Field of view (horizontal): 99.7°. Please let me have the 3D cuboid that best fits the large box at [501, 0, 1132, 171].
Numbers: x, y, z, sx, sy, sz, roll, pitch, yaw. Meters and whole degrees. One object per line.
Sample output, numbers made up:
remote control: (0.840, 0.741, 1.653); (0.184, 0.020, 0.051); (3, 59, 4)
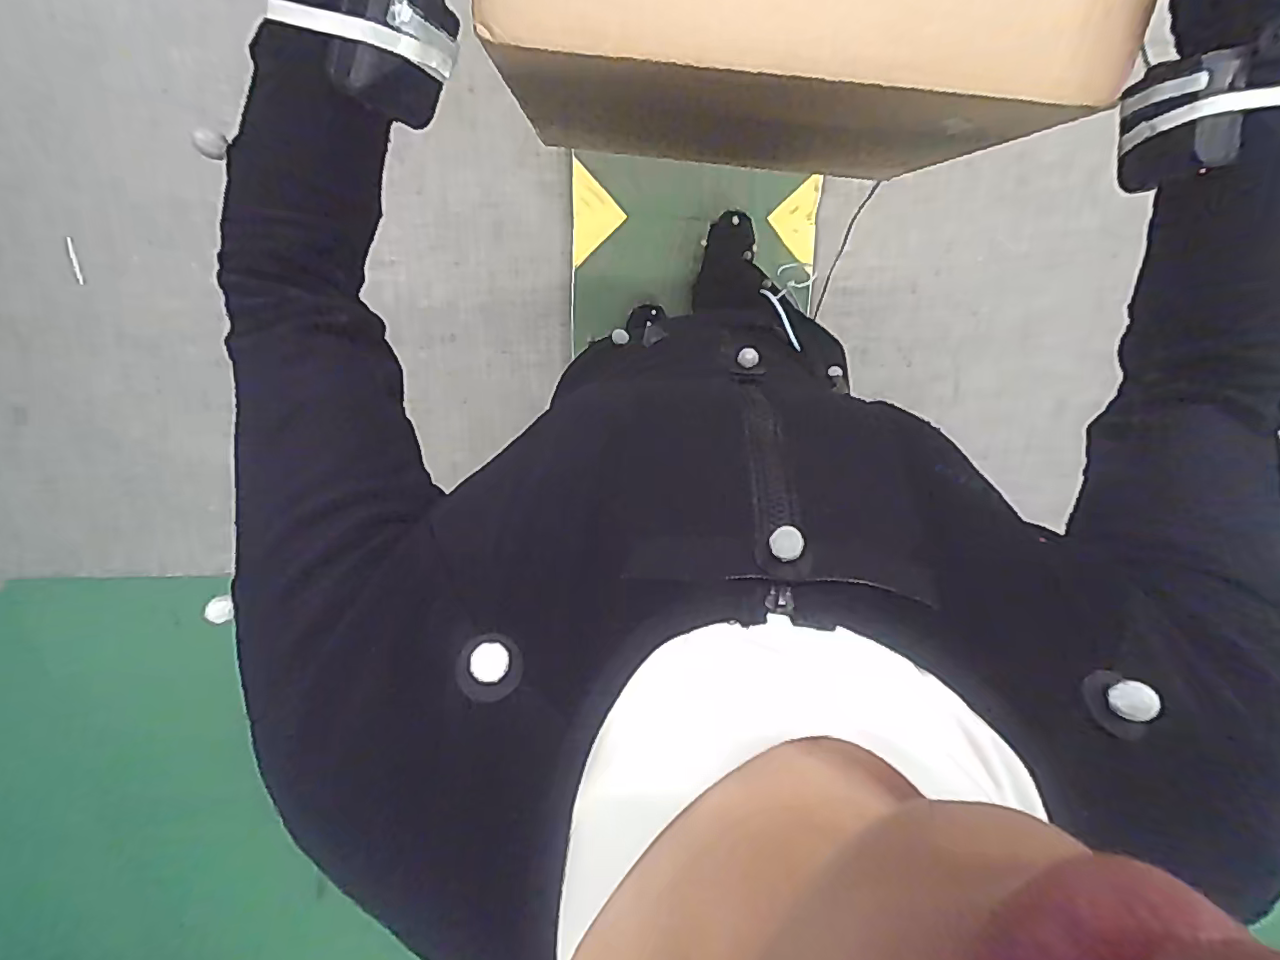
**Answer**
large box: (0.109, -0.457, 0.429); (0.408, 0.320, 0.320); (3, 112, -5)
